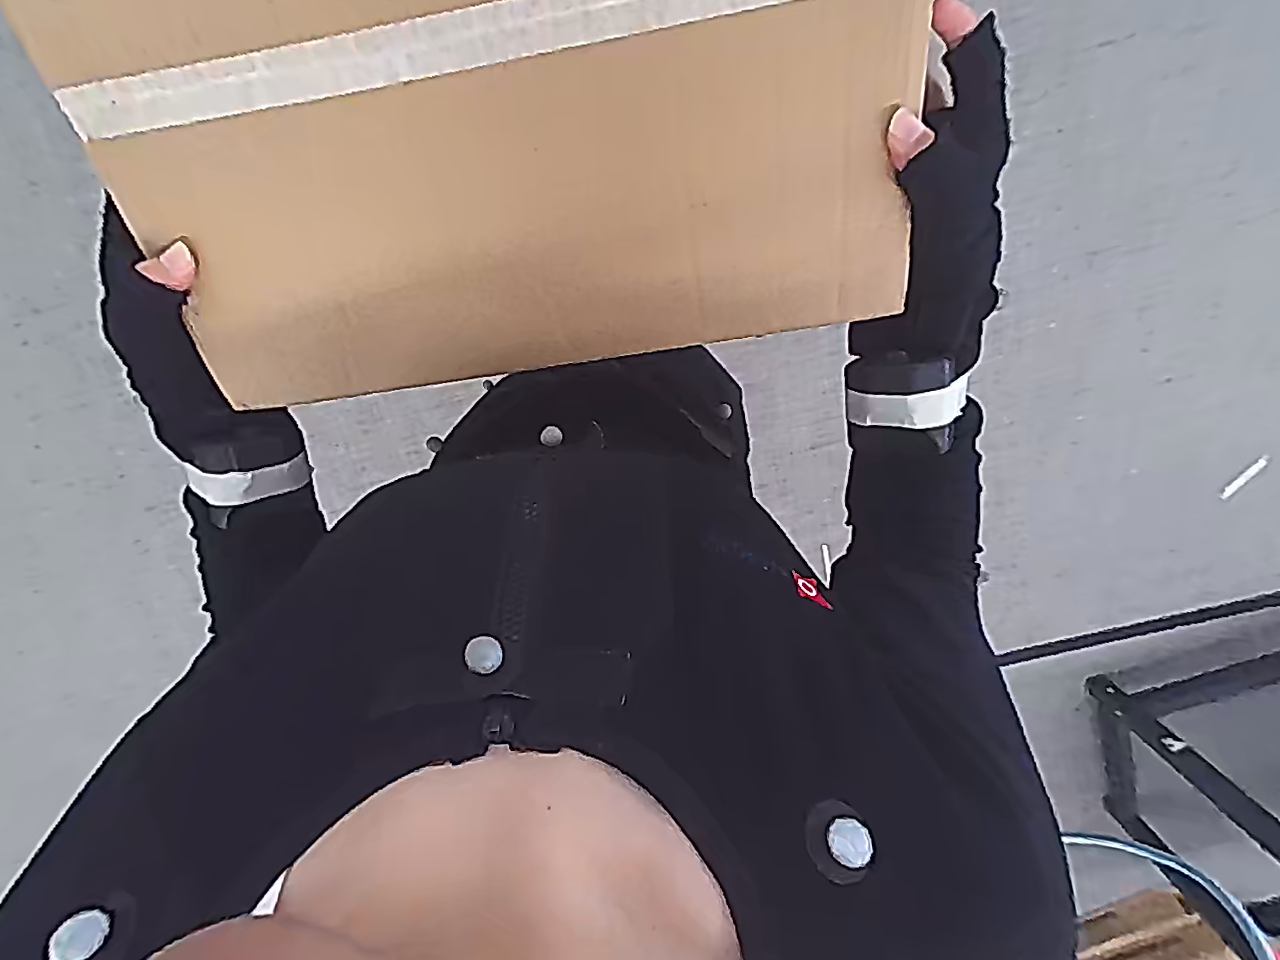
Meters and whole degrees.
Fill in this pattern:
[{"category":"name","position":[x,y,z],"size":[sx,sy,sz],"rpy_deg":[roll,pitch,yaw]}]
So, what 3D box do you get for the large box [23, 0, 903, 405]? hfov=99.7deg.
[{"category":"large box","position":[-0.075,-0.280,0.383],"size":[0.408,0.320,0.320],"rpy_deg":[-7,119,5]}]
